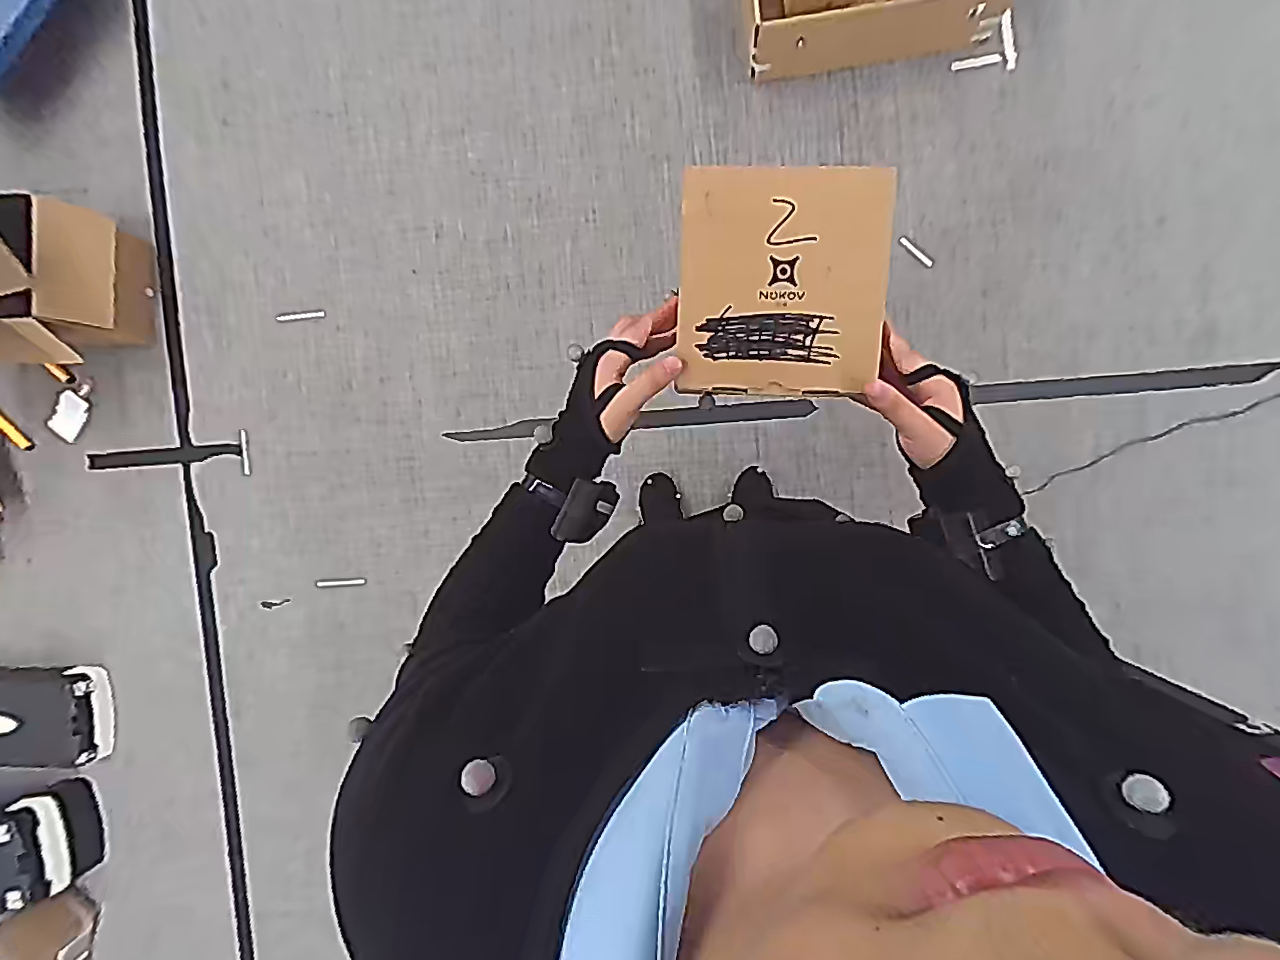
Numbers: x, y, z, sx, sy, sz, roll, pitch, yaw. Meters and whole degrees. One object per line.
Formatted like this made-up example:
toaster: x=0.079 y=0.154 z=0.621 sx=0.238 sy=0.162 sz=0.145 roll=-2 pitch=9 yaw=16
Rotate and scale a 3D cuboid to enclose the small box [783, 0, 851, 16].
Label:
small box: x=0.439 y=-1.275 z=1.307 sx=0.168 sy=0.176 sz=0.179 roll=-8 pitch=91 yaw=4
